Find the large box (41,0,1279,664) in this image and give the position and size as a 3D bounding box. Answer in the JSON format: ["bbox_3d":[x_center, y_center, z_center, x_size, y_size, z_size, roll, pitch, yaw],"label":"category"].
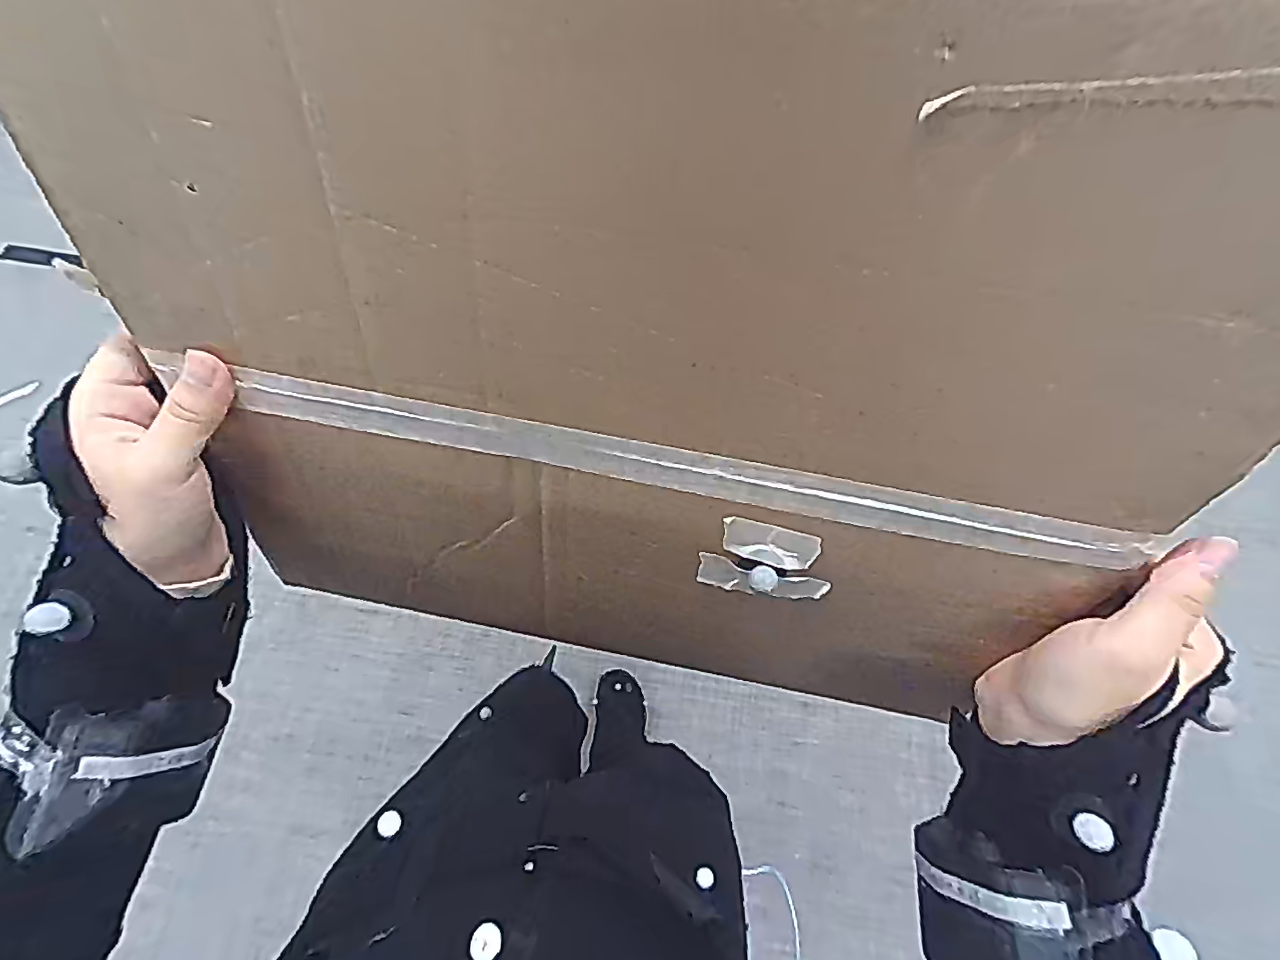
[{"bbox_3d":[0.029,-0.137,0.324,0.408,0.320,0.320,10,43,3],"label":"large box"}]
